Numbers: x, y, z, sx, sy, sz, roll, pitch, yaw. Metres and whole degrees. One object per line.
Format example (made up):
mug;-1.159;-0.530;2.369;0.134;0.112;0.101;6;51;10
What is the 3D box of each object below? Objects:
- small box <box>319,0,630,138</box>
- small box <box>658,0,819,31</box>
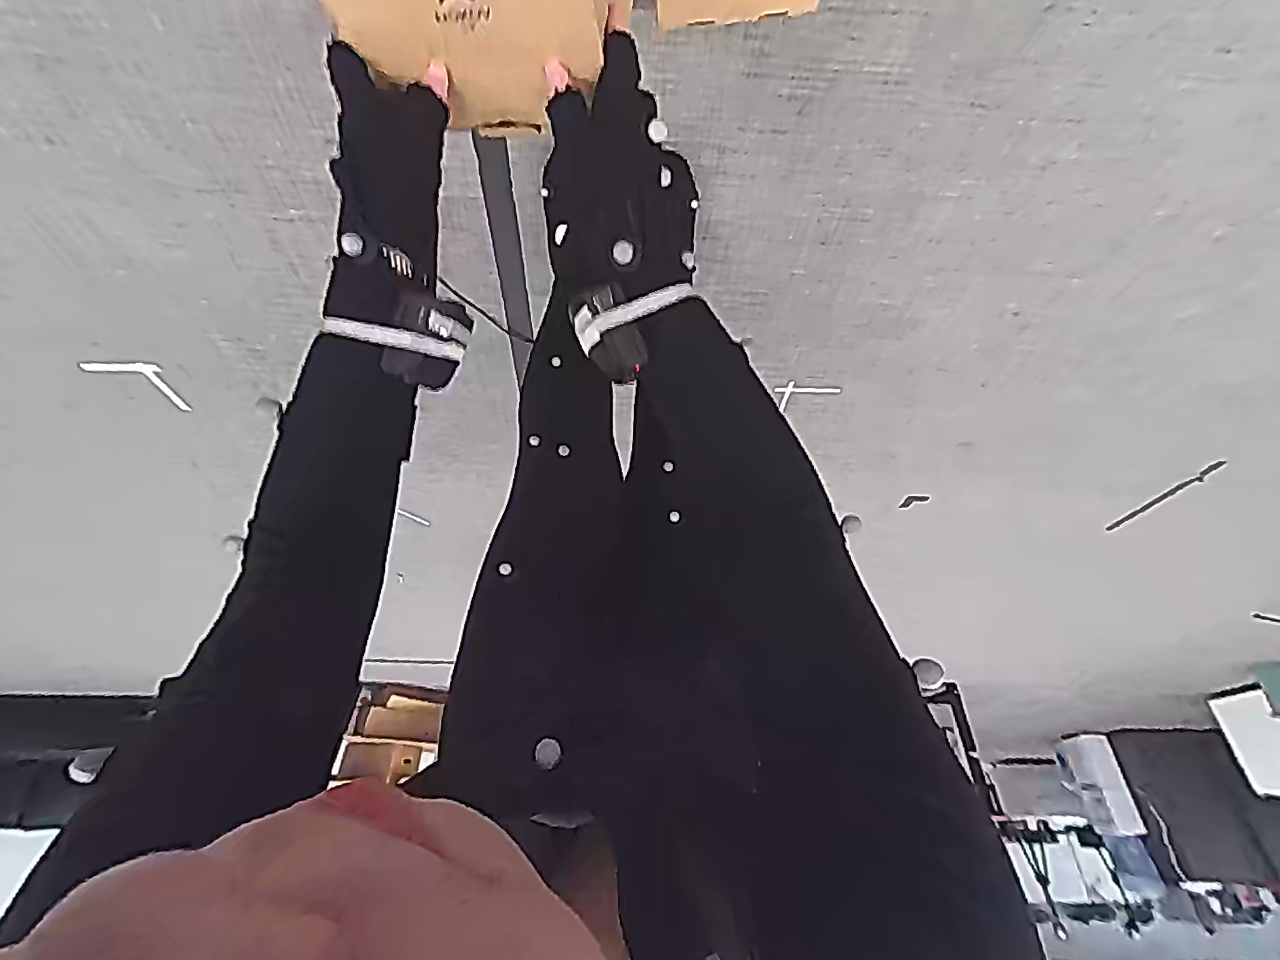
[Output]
small box;-0.098;-0.352;0.331;0.168;0.176;0.179;3;167;9
small box;0.093;-0.590;0.535;0.168;0.176;0.179;-3;147;5
